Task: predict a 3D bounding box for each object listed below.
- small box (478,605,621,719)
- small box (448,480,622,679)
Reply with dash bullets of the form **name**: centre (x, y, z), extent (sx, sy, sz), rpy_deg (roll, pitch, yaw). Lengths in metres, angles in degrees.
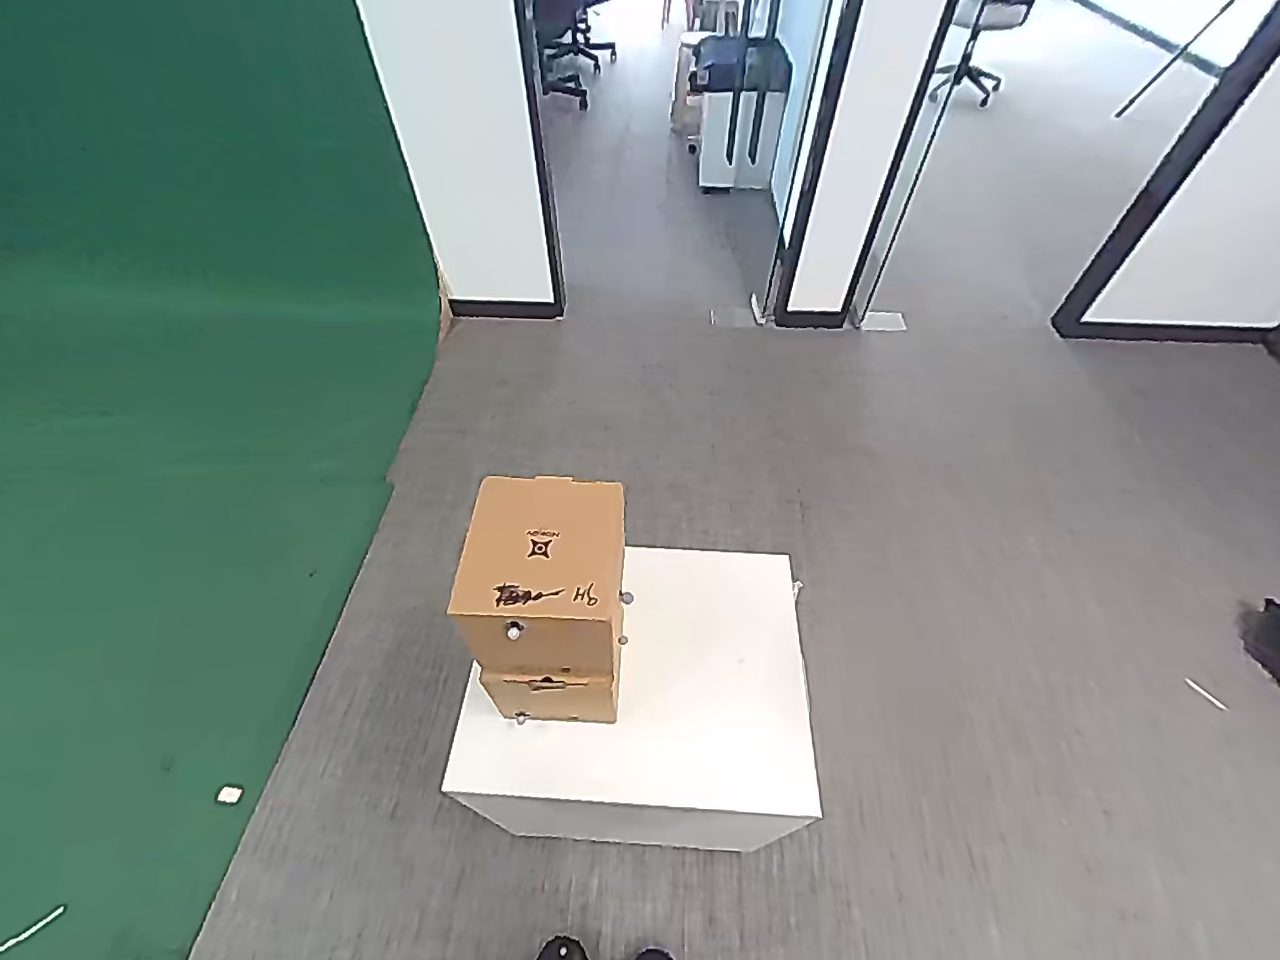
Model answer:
- **small box**: centre (-0.115, 0.231, 0.775), extent (0.168, 0.176, 0.179), rpy_deg (2, 51, 1)
- **small box**: centre (-0.109, 0.121, 0.654), extent (0.168, 0.176, 0.179), rpy_deg (2, 51, 1)
